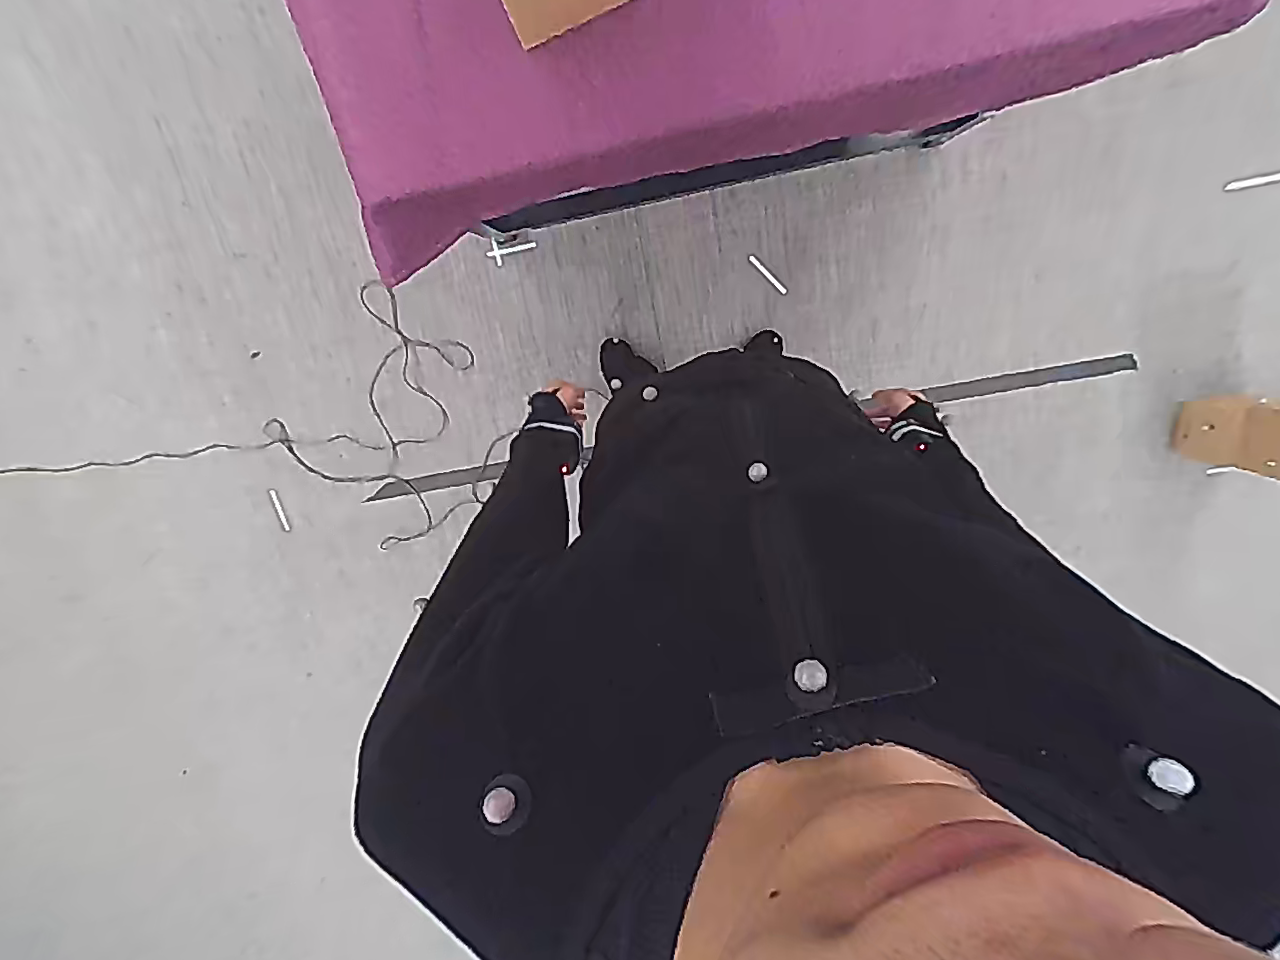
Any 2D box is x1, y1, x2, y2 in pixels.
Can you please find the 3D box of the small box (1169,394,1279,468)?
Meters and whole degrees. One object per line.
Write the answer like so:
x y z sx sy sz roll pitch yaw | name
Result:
1.666 -0.142 1.529 0.179 0.176 0.168 -7 108 2 | small box

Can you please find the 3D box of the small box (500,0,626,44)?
-0.104 -0.641 0.603 0.179 0.176 0.168 -21 107 6 | small box
